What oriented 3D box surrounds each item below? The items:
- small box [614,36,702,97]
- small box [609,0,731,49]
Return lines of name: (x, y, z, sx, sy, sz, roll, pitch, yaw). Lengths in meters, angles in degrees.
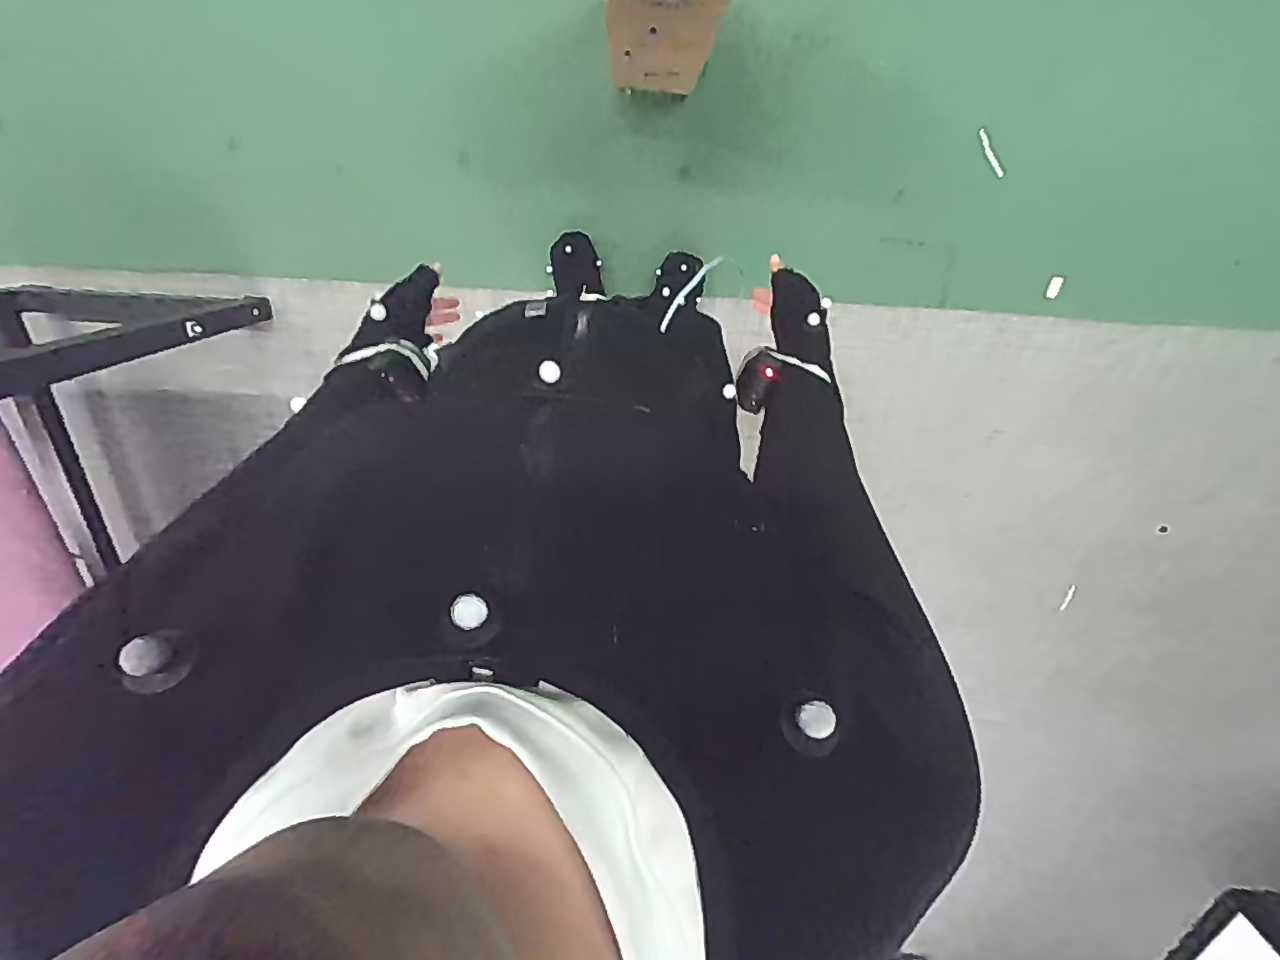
small box: (0.038, -0.873, 1.057, 0.168, 0.176, 0.179, 3, 115, -3)
small box: (0.039, -0.741, 0.757, 0.168, 0.176, 0.179, 0, 115, -2)
